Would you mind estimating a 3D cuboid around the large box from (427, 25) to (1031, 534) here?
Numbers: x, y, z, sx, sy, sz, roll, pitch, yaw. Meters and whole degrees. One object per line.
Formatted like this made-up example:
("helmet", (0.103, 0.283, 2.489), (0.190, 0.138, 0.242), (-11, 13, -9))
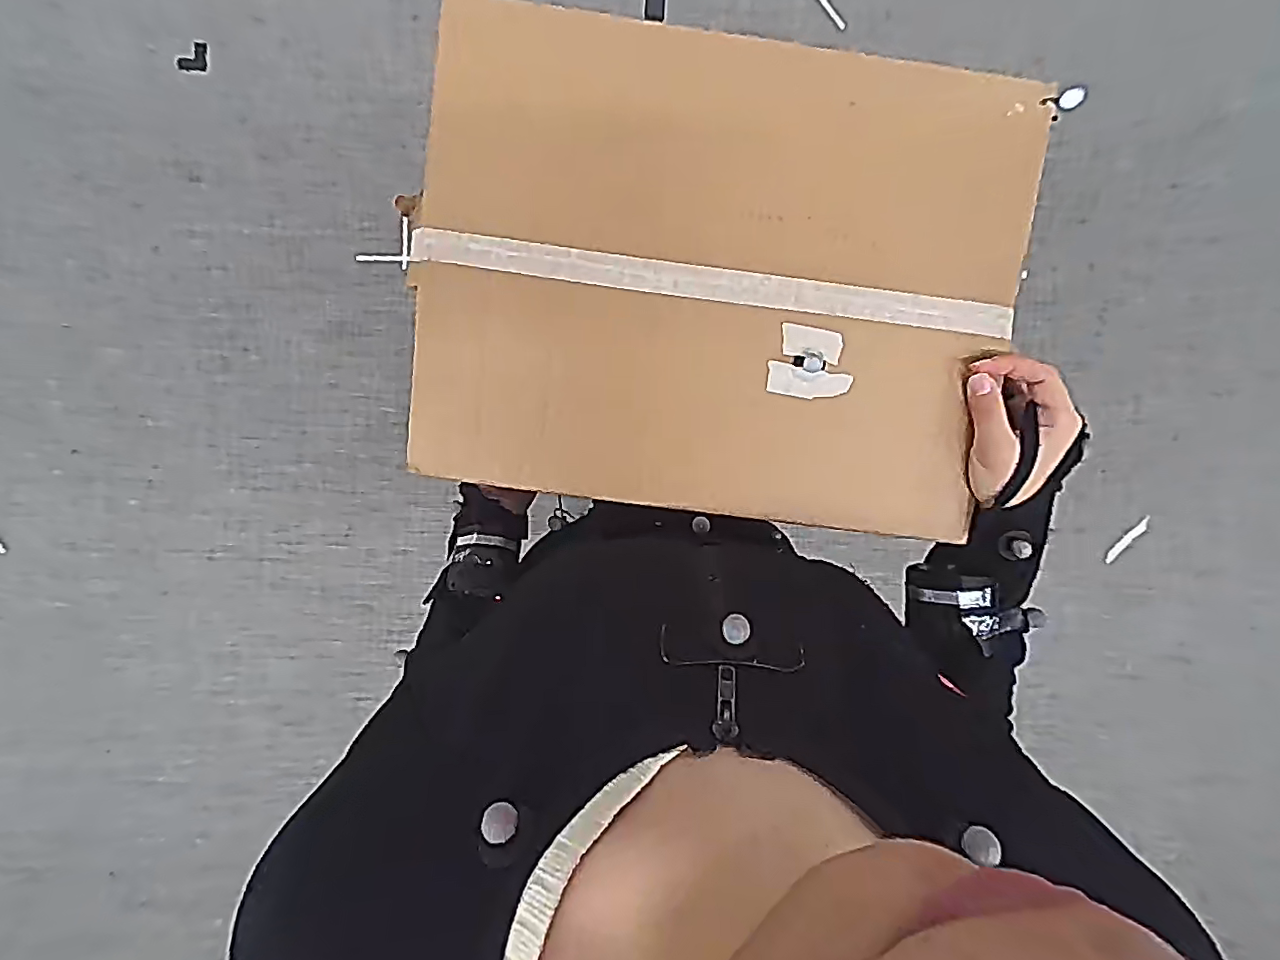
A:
("large box", (0.052, -0.145, 0.526), (0.408, 0.320, 0.320), (7, 97, -3))
